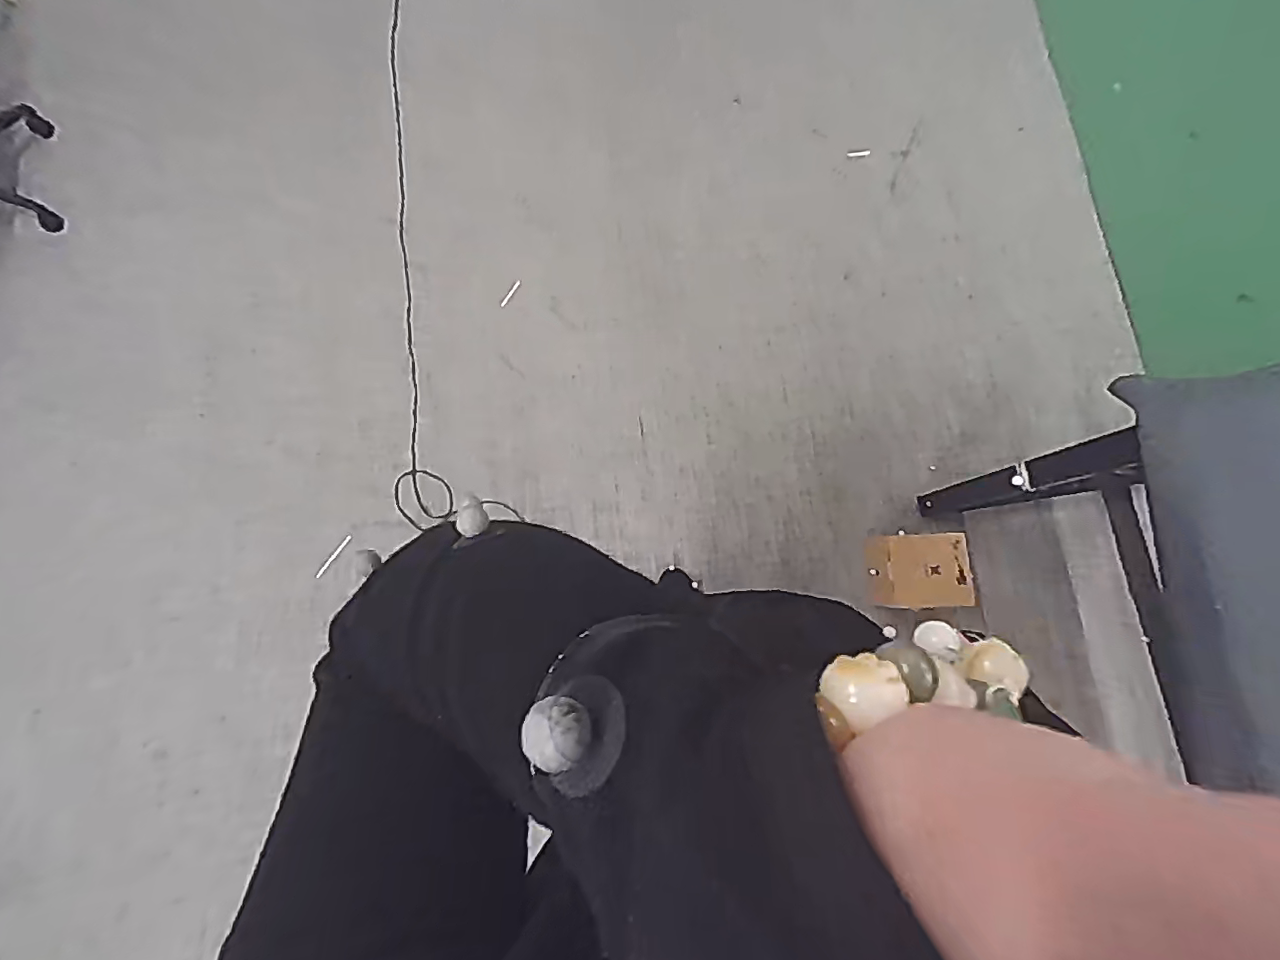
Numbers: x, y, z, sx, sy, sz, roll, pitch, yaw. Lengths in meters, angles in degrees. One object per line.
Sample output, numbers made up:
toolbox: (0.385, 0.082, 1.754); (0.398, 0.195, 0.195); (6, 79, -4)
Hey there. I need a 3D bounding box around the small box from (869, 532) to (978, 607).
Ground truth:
small box: (0.663, 0.216, 1.290); (0.179, 0.176, 0.168); (-4, 79, 3)
